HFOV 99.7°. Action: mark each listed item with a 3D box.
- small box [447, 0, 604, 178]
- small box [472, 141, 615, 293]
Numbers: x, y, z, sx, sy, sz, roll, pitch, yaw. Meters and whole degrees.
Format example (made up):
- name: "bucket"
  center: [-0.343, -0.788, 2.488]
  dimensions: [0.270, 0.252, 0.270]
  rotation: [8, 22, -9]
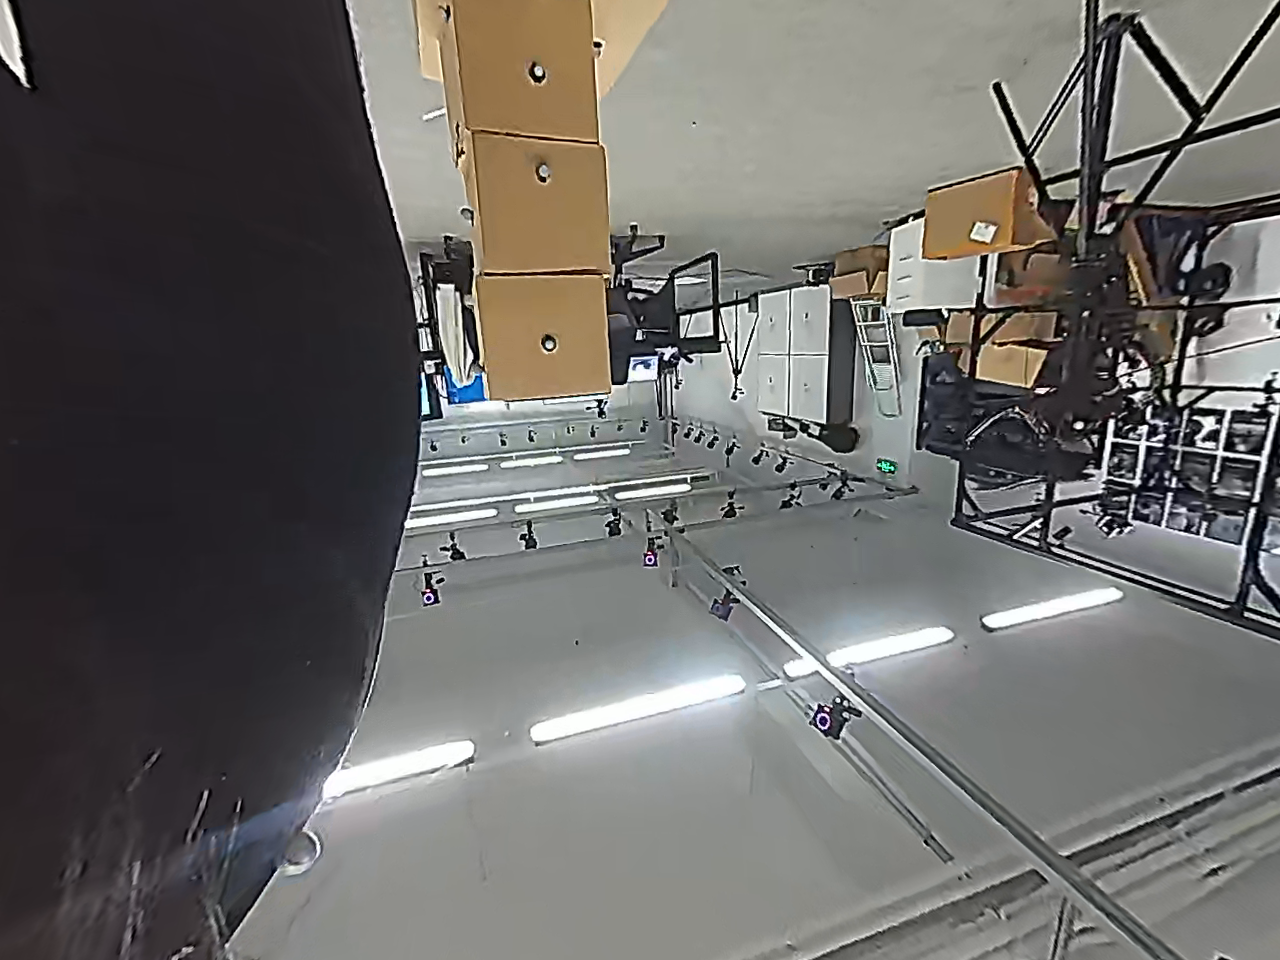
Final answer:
- name: "small box"
  center: [-0.163, -0.529, 0.745]
  dimensions: [0.179, 0.176, 0.168]
  rotation: [-9, -165, -21]
- name: "small box"
  center: [-0.145, -0.372, 0.788]
  dimensions: [0.179, 0.176, 0.168]
  rotation: [-7, -165, -19]
